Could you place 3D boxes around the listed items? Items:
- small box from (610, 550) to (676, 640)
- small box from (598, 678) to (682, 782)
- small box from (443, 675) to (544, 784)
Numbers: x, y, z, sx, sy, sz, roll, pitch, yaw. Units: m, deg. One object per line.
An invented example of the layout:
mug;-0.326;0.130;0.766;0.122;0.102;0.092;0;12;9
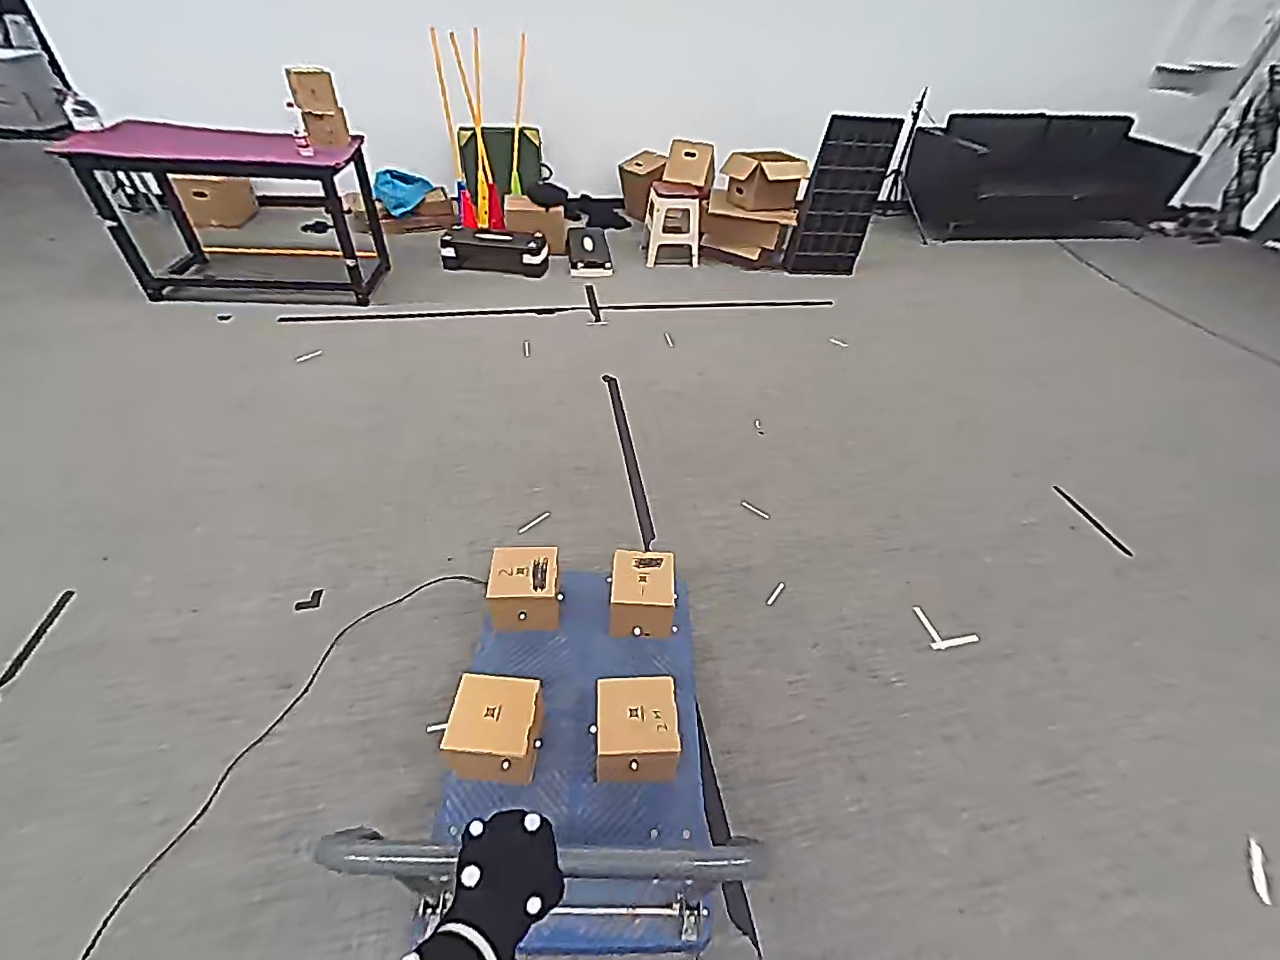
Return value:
small box;0.006;0.318;1.493;0.168;0.176;0.179;4;44;-2
small box;-0.007;0.567;1.224;0.179;0.176;0.168;0;43;-5
small box;-0.316;0.558;1.204;0.179;0.176;0.168;6;42;-2
